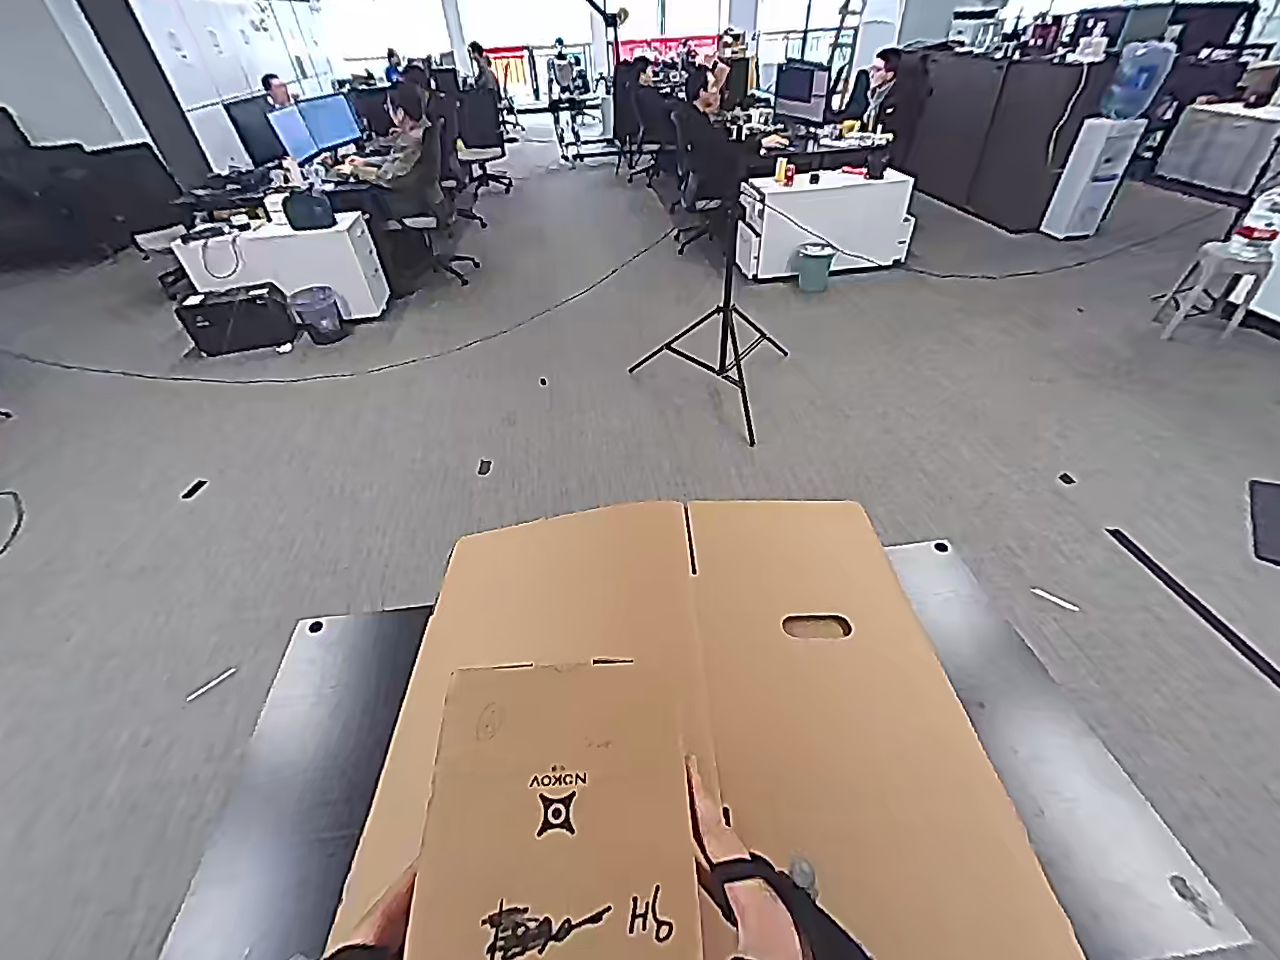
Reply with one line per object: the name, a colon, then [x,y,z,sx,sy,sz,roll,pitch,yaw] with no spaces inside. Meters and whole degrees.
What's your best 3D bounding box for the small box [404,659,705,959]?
small box: [-0.048,0.253,0.403,0.168,0.176,0.179,-3,50,-1]
